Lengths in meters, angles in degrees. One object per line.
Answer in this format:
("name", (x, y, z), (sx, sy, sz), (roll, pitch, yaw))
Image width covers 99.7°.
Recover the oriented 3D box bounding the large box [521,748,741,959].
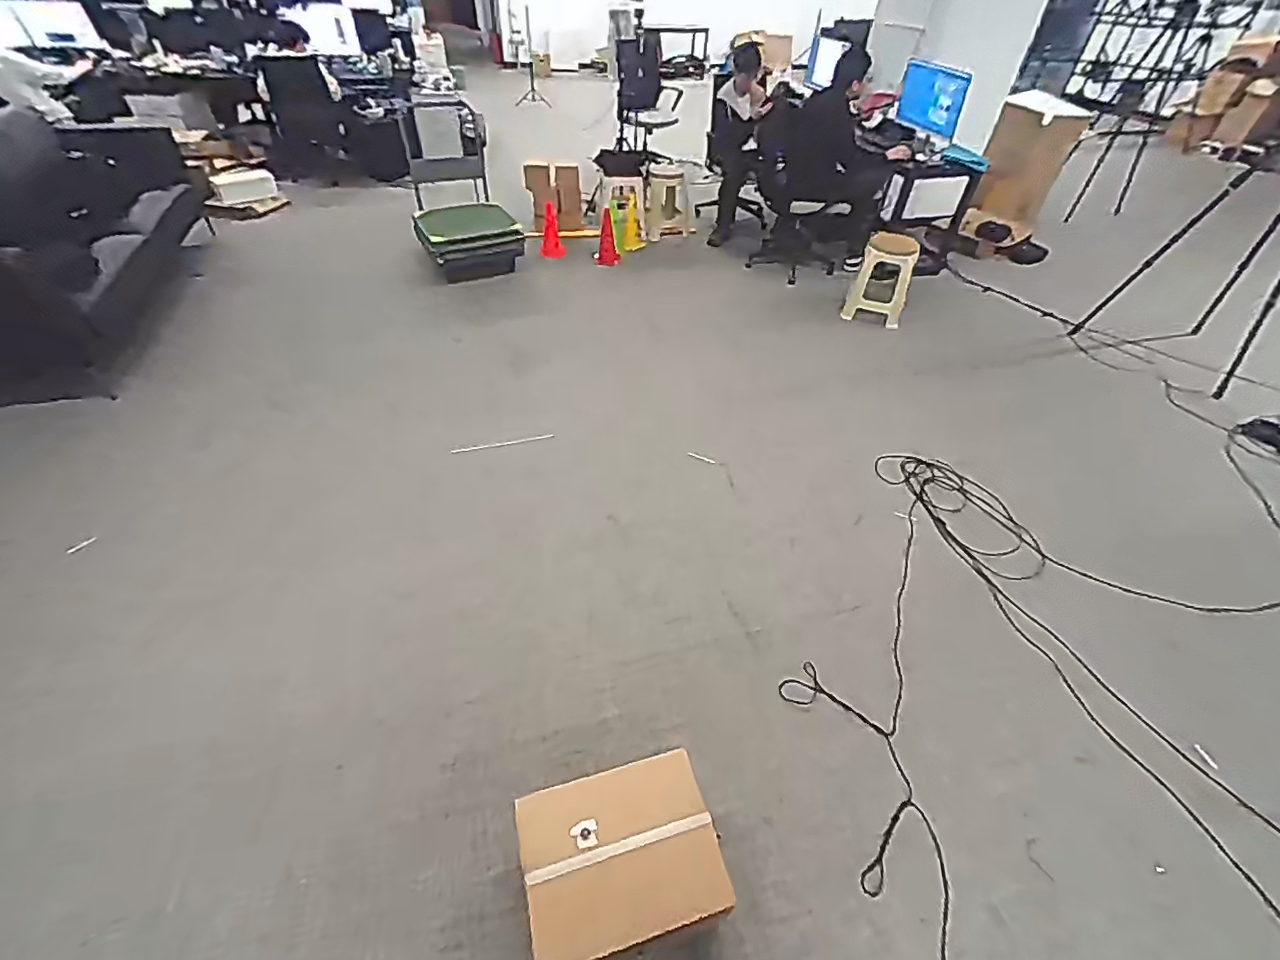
("large box", (-0.031, 0.886, 1.244), (0.408, 0.320, 0.320), (-12, 45, -13))
